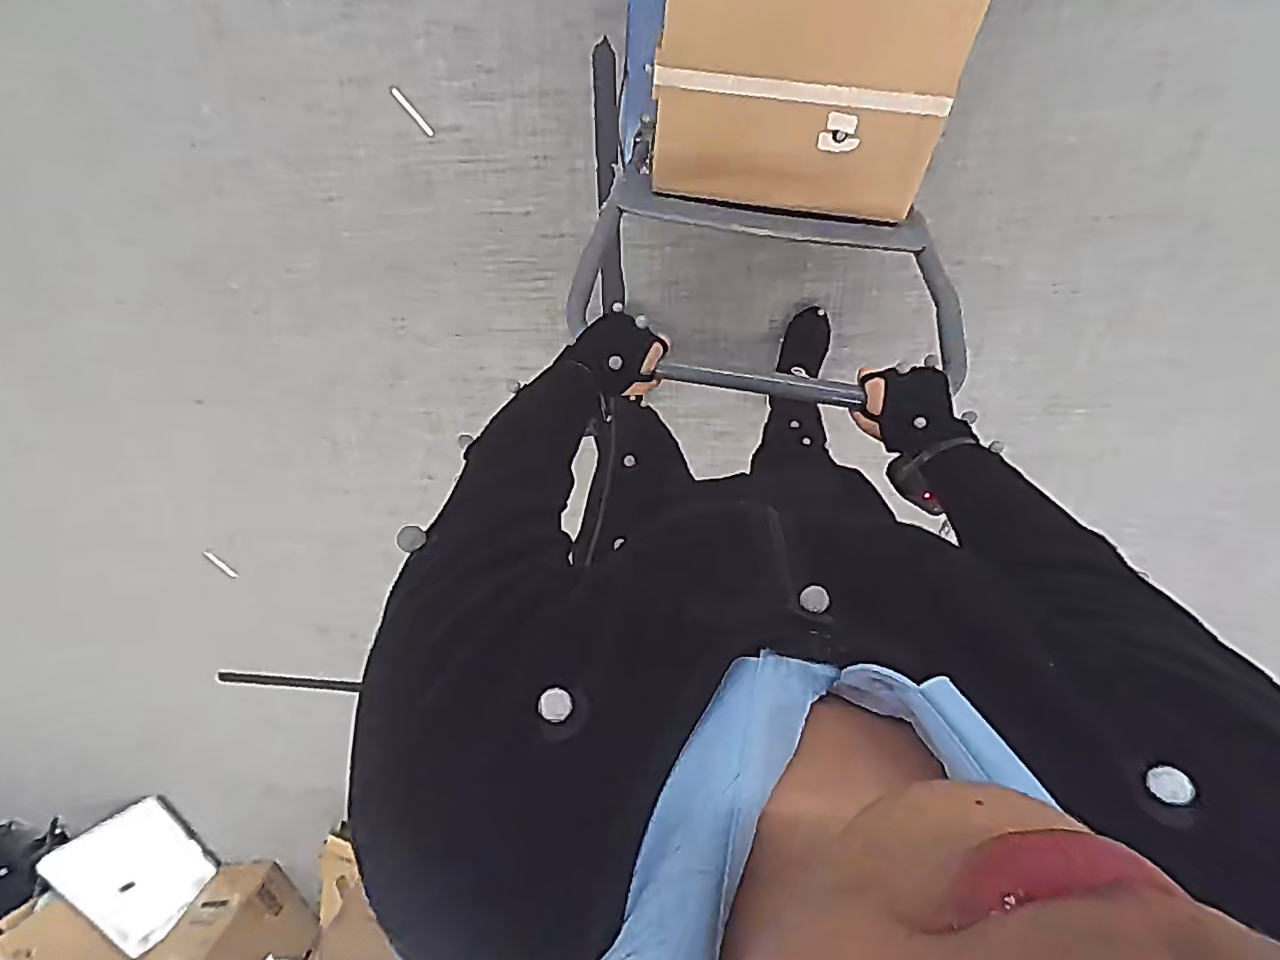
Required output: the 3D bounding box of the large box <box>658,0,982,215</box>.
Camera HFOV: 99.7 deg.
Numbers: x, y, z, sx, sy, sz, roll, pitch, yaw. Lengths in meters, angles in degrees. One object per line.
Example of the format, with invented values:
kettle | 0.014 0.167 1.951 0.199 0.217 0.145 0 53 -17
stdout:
large box | 0.250 -0.658 0.875 0.408 0.320 0.320 8 135 3
